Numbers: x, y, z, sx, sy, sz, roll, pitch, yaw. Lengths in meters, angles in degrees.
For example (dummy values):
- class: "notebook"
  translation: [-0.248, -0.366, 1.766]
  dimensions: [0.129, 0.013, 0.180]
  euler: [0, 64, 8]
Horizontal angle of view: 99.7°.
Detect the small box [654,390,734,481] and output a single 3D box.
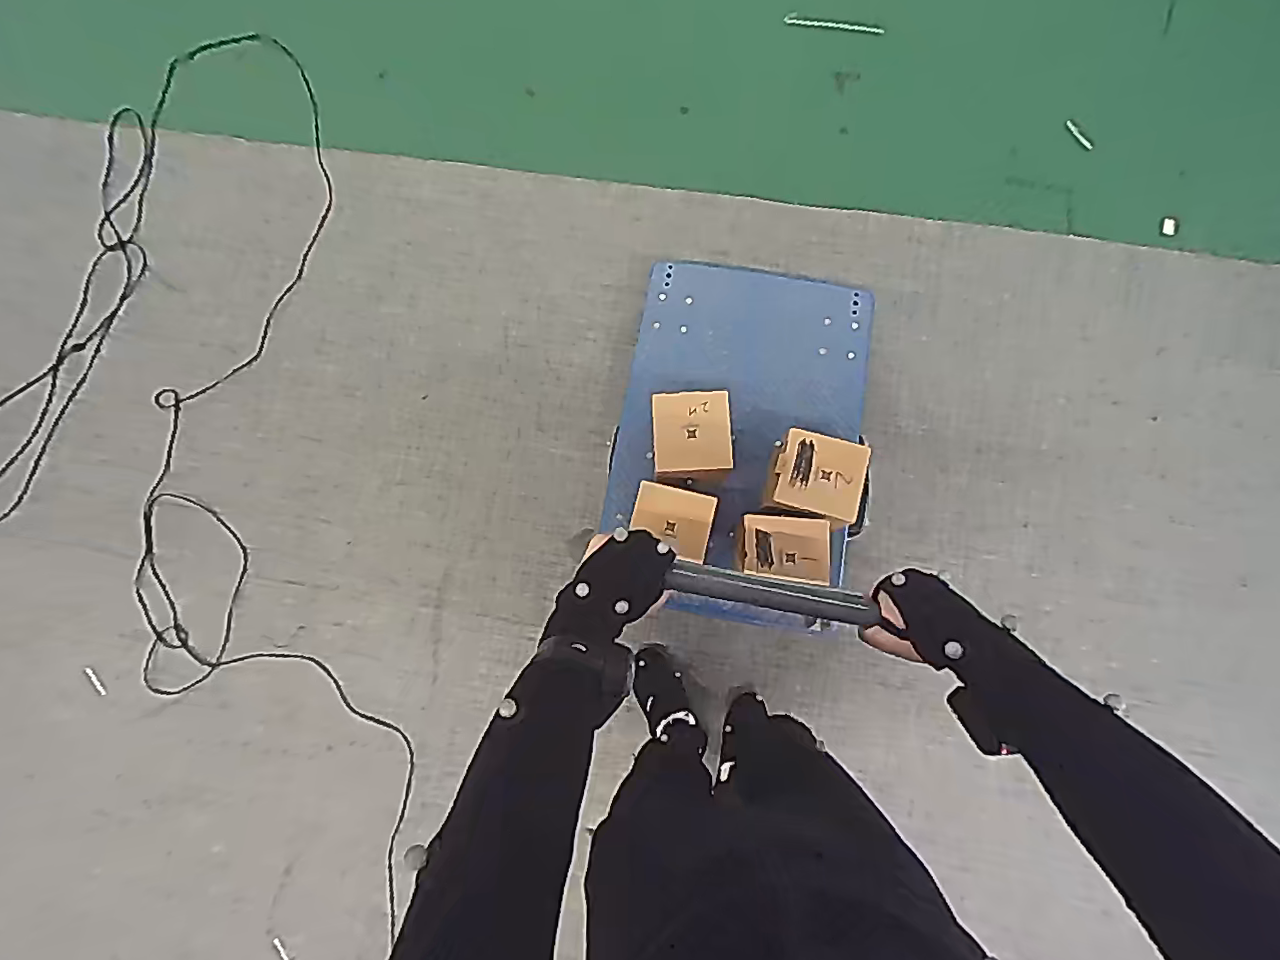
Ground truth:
- class: "small box"
  translation: [0.117, -0.092, 1.228]
  dimensions: [0.168, 0.176, 0.179]
  euler: [-2, 80, 1]
